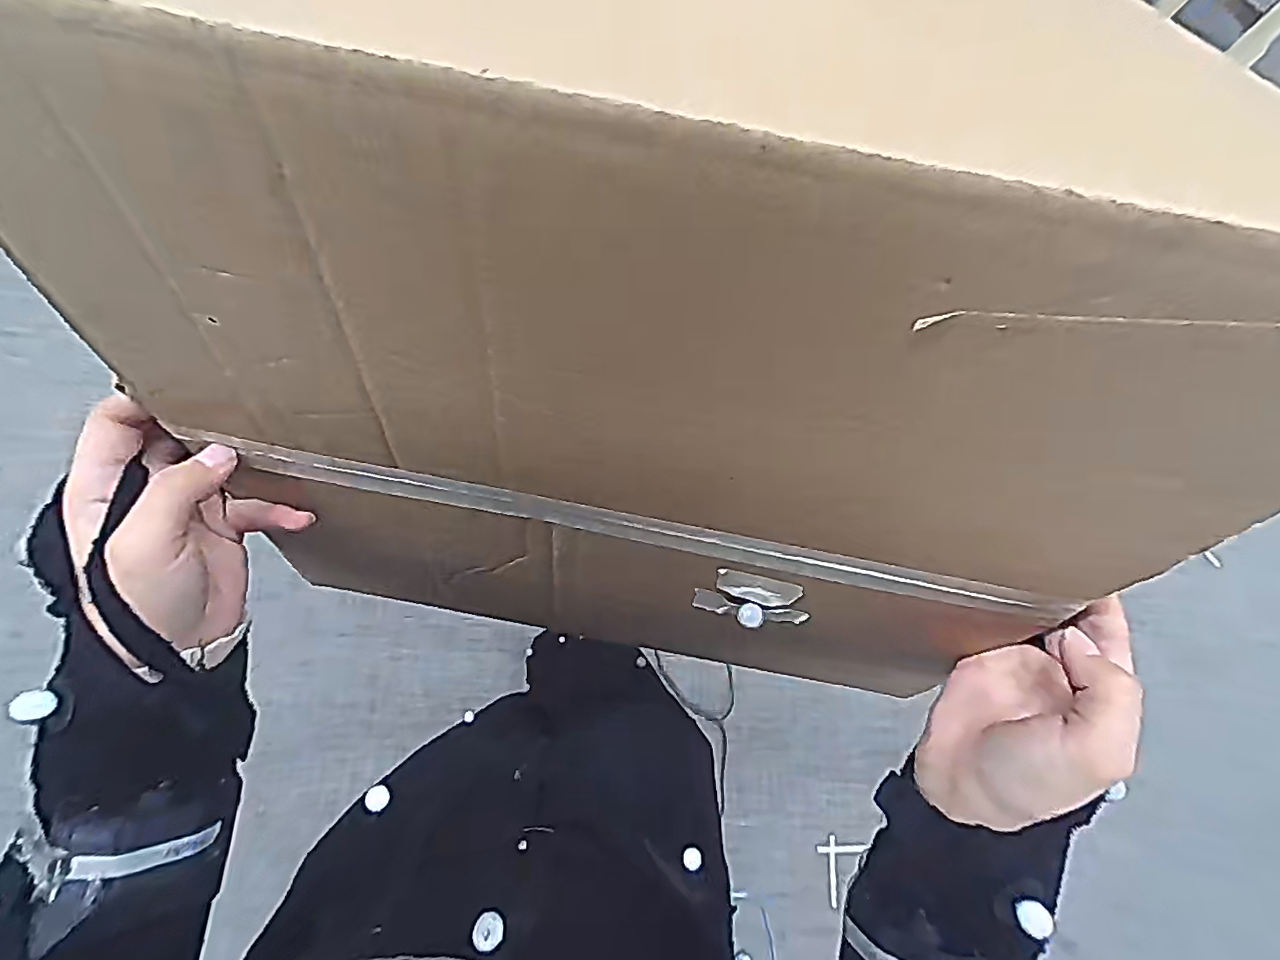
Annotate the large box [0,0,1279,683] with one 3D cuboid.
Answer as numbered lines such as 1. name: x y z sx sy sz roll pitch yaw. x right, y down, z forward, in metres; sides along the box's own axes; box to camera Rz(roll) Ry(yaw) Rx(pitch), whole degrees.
1. large box: 0.017 -0.103 0.336 0.408 0.320 0.320 10 54 0
